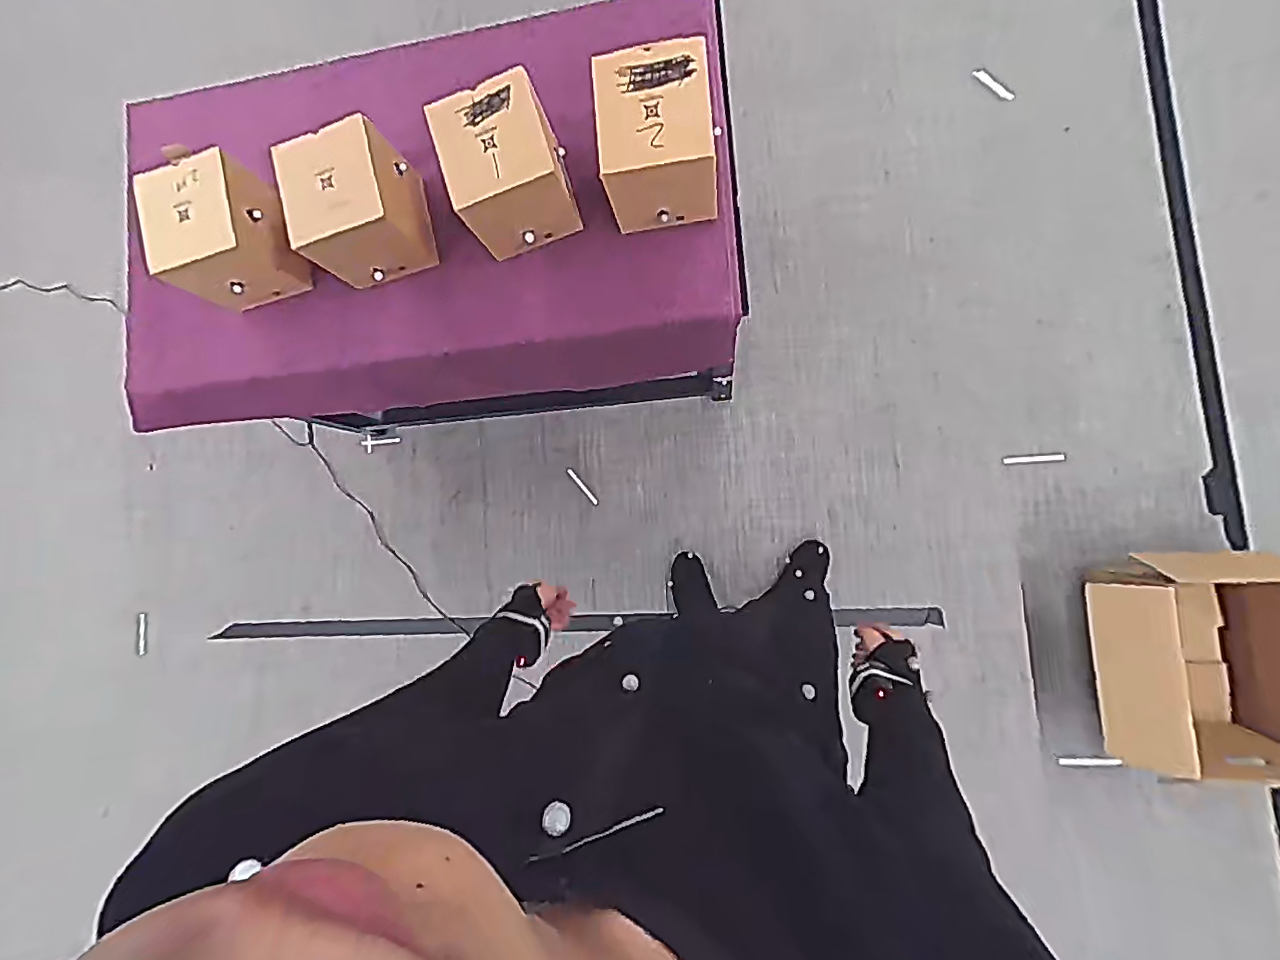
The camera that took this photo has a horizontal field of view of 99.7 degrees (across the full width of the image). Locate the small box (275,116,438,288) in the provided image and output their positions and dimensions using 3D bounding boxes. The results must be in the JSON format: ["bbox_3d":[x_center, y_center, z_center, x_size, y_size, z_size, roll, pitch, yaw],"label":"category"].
[{"bbox_3d":[-0.472,-0.459,0.919,0.168,0.176,0.179,-15,84,8],"label":"small box"}]

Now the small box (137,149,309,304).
[{"bbox_3d":[-0.721,-0.428,0.952,0.168,0.176,0.179,-13,84,7],"label":"small box"}]

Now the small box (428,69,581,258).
[{"bbox_3d":[-0.211,-0.501,0.881,0.168,0.176,0.179,-18,85,7],"label":"small box"}]
